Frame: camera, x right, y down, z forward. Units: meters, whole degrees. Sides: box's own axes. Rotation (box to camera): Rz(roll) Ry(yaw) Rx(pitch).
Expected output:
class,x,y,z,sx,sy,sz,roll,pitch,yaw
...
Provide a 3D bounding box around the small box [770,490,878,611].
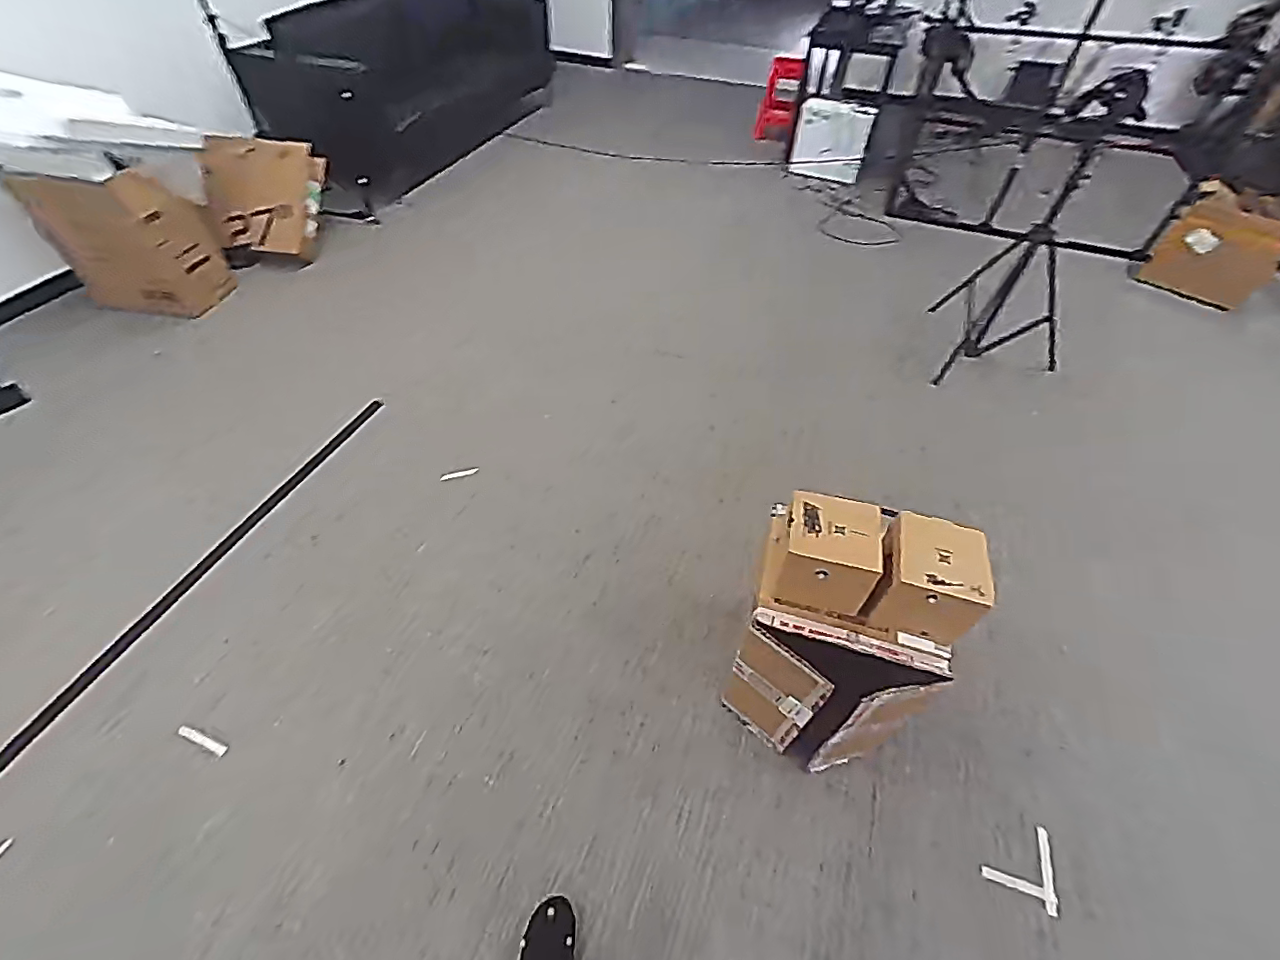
class,x,y,z,sx,sy,sz,roll,pitch,yaw
small box,0.373,0.148,1.113,0.179,0.176,0.168,11,49,9

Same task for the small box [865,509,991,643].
class,x,y,z,sx,sy,sz,roll,pitch,yaw
small box,0.563,0.193,1.081,0.168,0.176,0.179,15,49,9
